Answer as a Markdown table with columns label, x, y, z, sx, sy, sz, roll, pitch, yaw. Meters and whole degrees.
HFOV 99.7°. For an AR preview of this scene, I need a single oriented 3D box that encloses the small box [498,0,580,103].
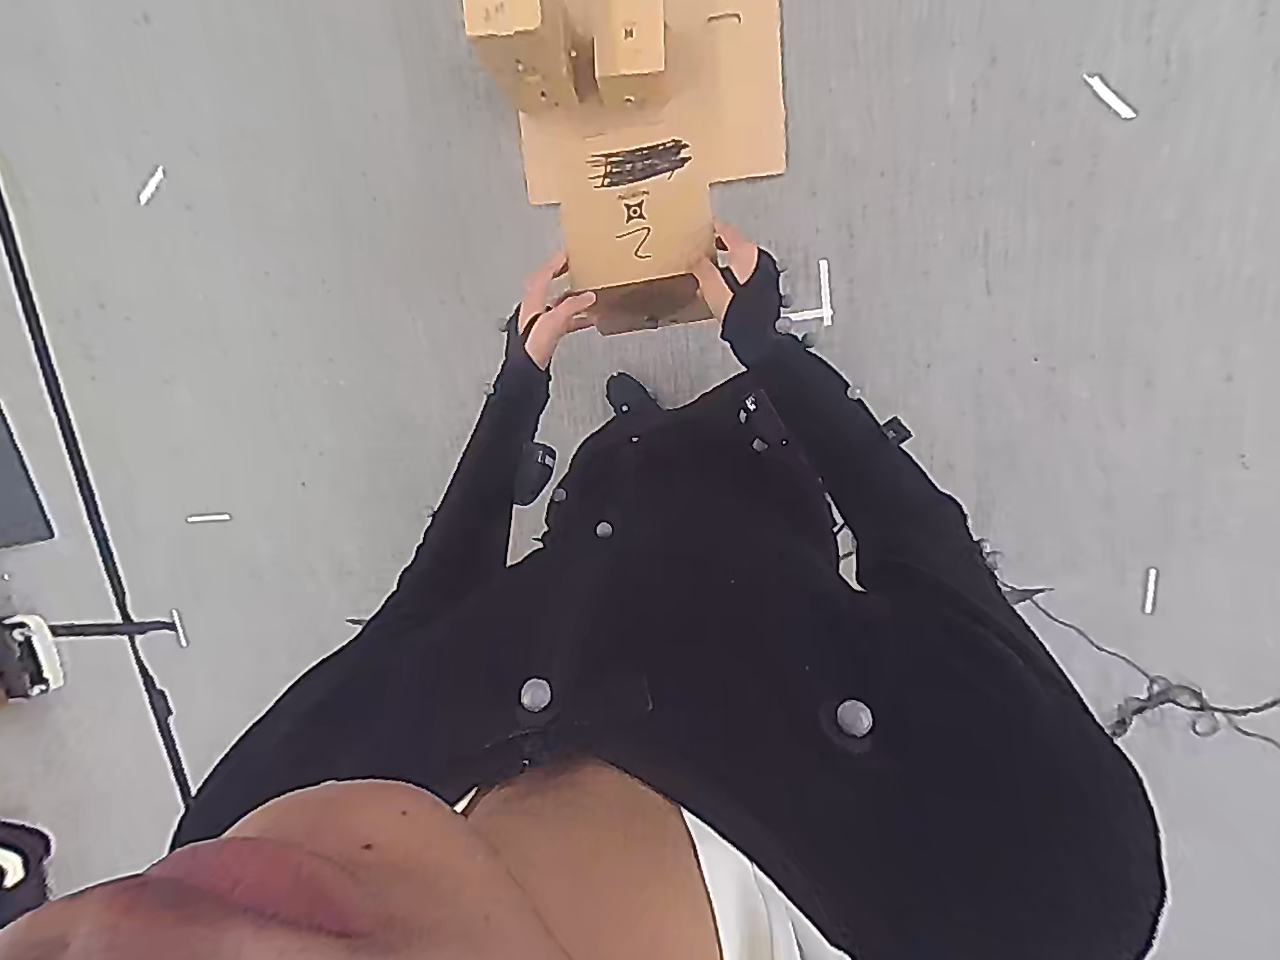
| label | x | y | z | sx | sy | sz | roll | pitch | yaw |
| --- | --- | --- | --- | --- | --- | --- | --- | --- | --- |
| small box | -0.248 | -1.054 | 1.325 | 0.168 | 0.176 | 0.179 | -1 | 103 | 6 |

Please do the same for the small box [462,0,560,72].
| label | x | y | z | sx | sy | sz | roll | pitch | yaw |
| --- | --- | --- | --- | --- | --- | --- | --- | --- | --- |
| small box | -0.274 | -1.025 | 1.164 | 0.168 | 0.176 | 0.179 | -1 | 103 | 7 |

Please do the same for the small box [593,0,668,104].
| label | x | y | z | sx | sy | sz | roll | pitch | yaw |
| --- | --- | --- | --- | --- | --- | --- | --- | --- | --- |
| small box | -0.018 | -1.047 | 1.305 | 0.168 | 0.176 | 0.179 | 0 | 102 | 5 |
